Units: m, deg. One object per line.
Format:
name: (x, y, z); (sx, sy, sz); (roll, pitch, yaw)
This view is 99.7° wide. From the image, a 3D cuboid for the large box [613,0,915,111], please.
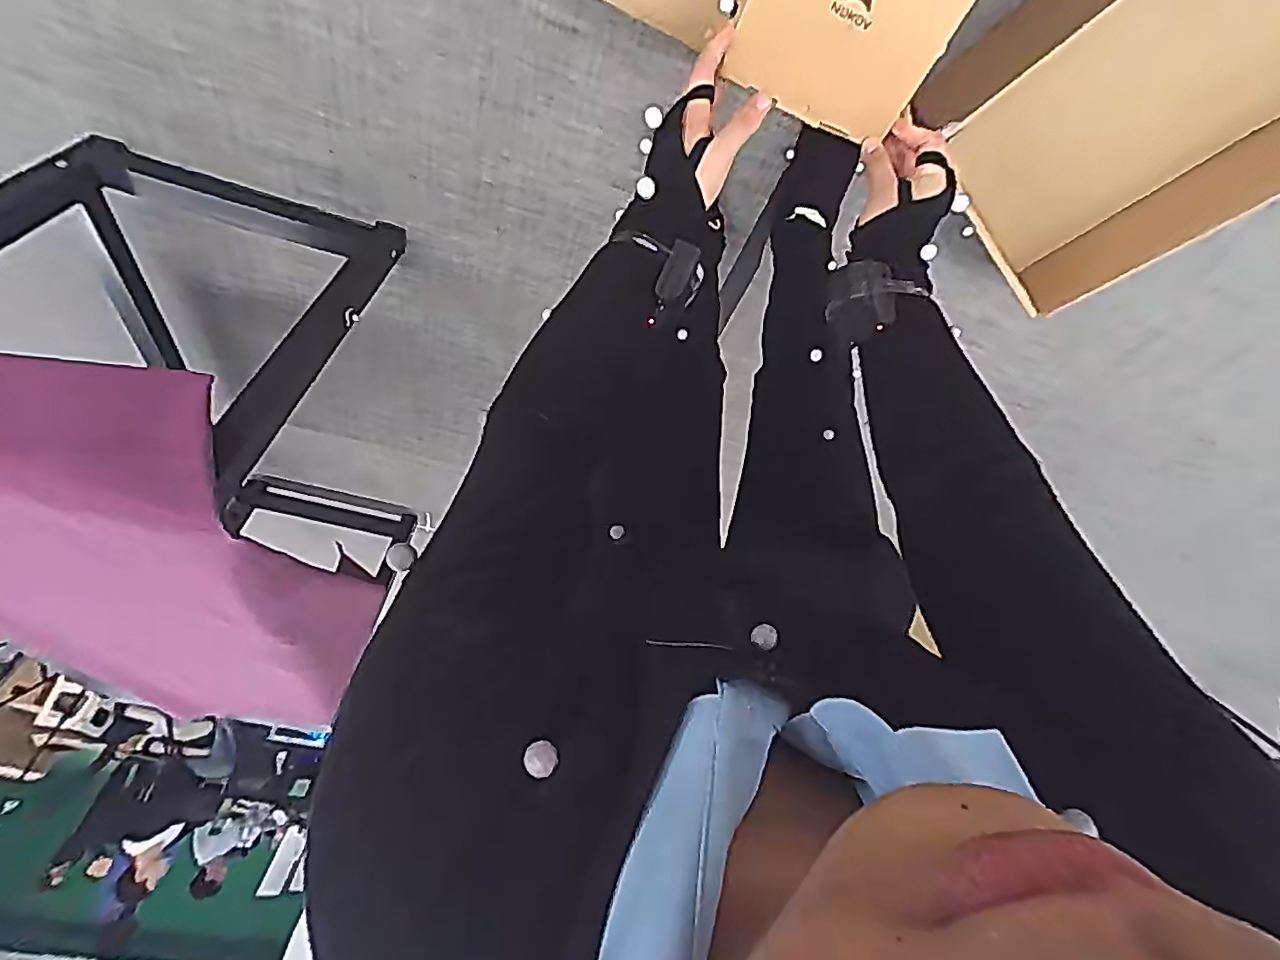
large box: (0.180, -0.695, 0.534); (0.320, 0.320, 0.408); (18, 142, -11)
